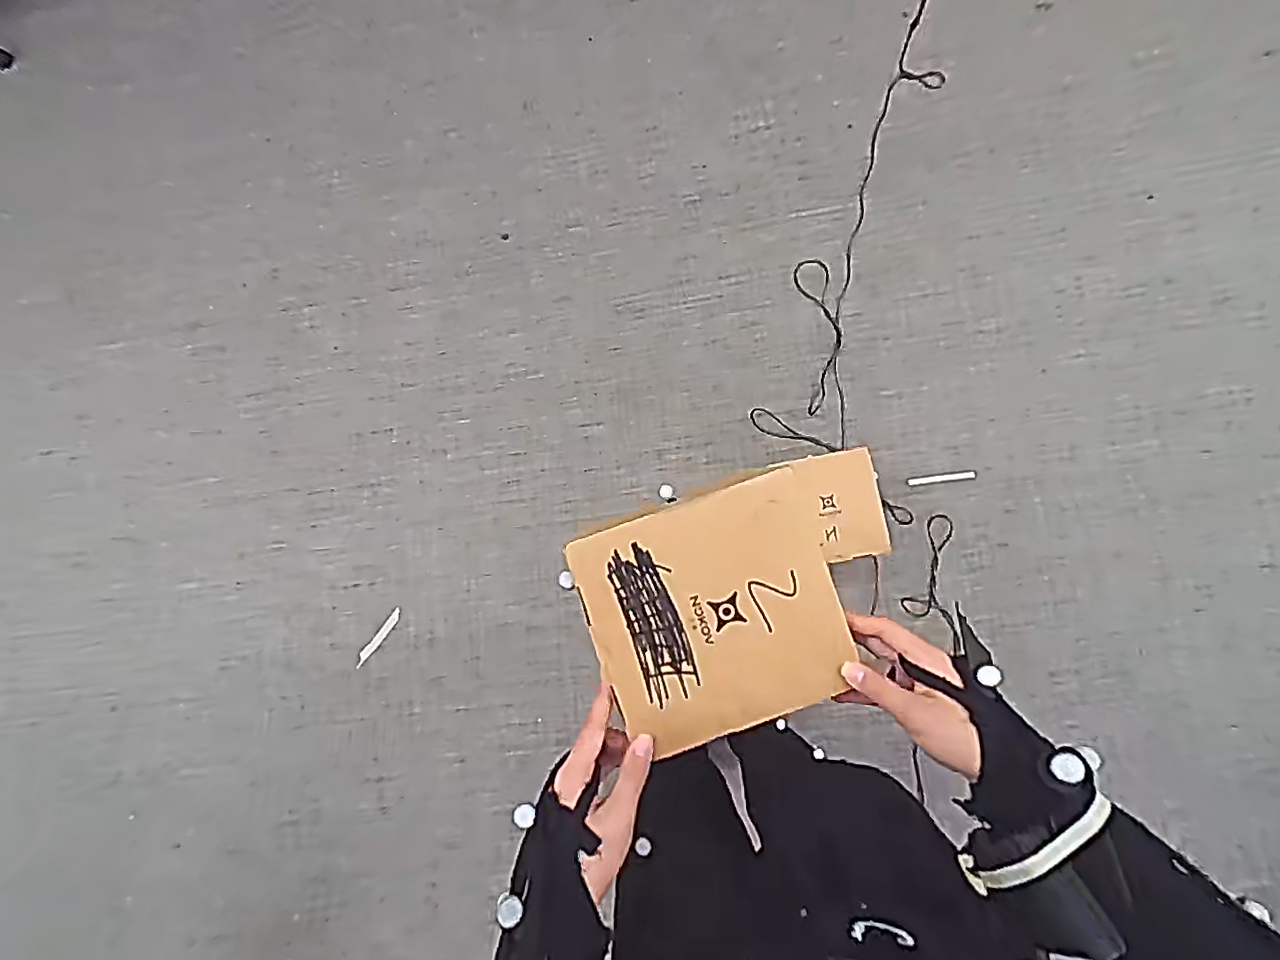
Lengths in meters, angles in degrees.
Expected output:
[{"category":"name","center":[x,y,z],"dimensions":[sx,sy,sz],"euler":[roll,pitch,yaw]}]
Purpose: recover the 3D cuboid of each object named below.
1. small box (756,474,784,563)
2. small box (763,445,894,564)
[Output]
[{"category":"small box","center":[0.337,0.074,1.109],"dimensions":[0.168,0.176,0.179],"euler":[-8,82,6]},{"category":"small box","center":[0.317,0.051,0.947],"dimensions":[0.168,0.176,0.179],"euler":[-10,81,6]}]
